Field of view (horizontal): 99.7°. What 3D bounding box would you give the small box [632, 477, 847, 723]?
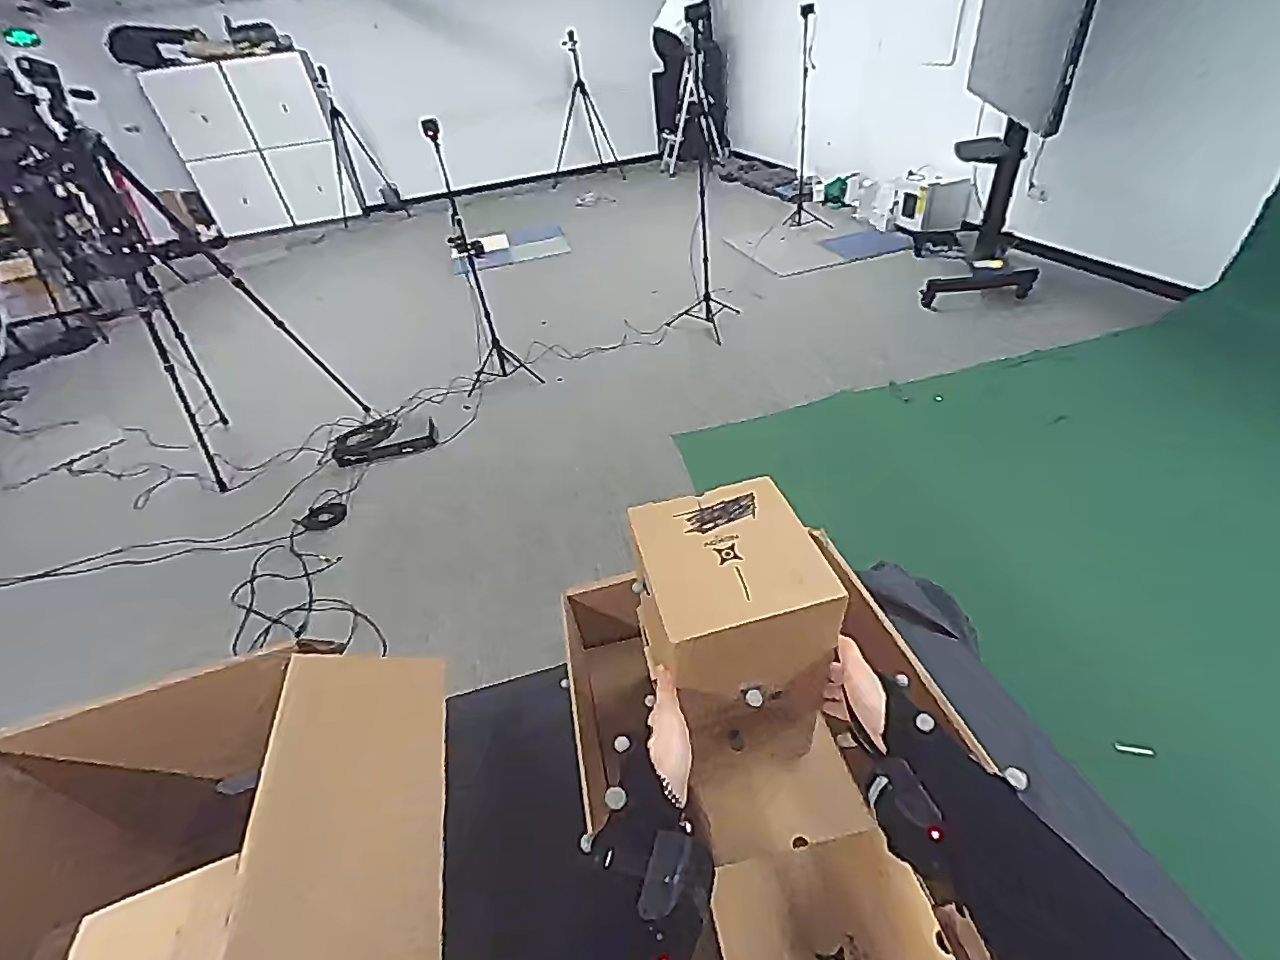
[{"bbox_3d":[0.094,0.127,0.583,0.168,0.176,0.179,-13,42,-6],"label":"small box"}]
